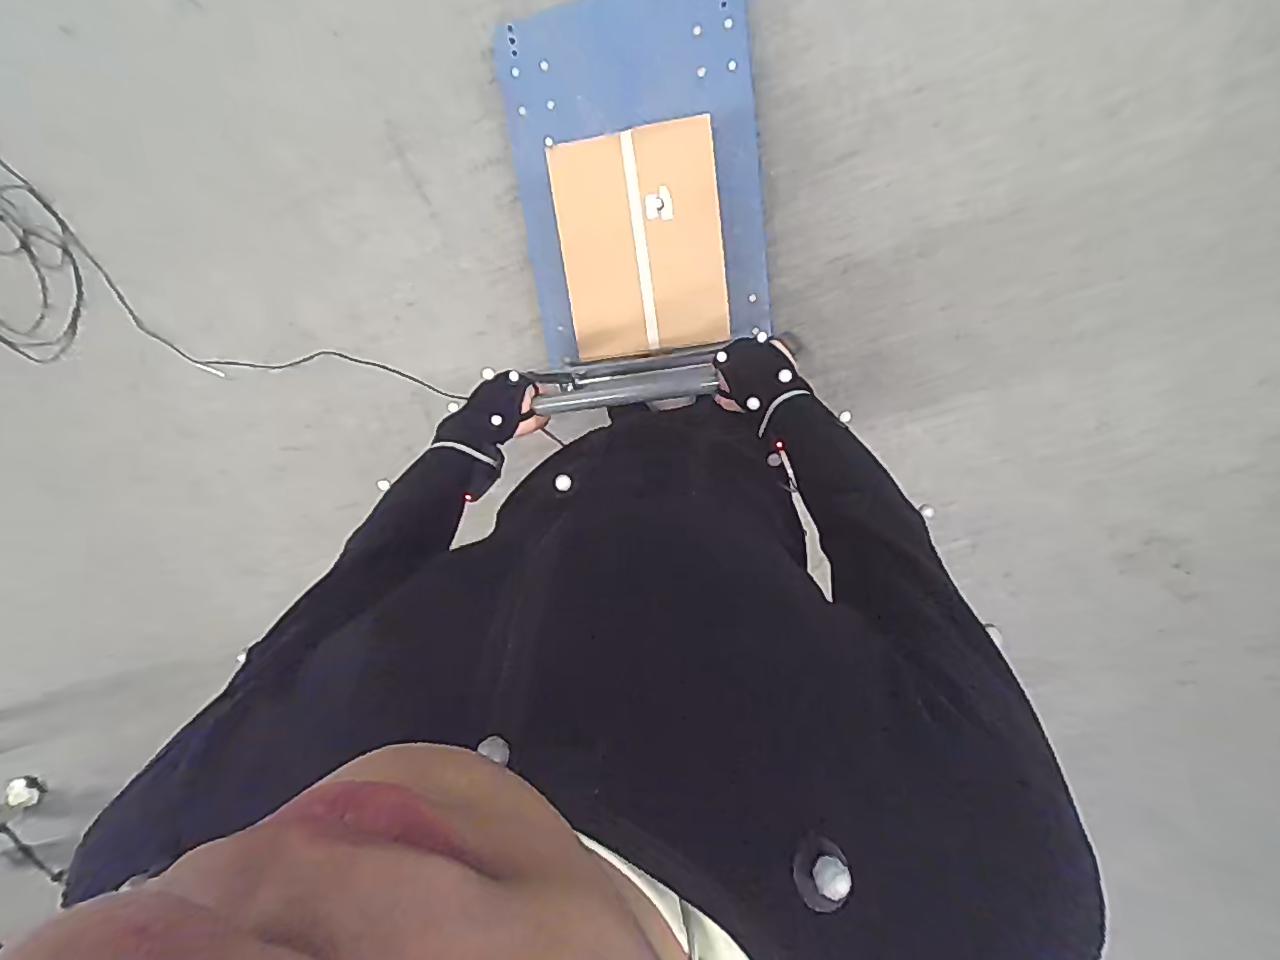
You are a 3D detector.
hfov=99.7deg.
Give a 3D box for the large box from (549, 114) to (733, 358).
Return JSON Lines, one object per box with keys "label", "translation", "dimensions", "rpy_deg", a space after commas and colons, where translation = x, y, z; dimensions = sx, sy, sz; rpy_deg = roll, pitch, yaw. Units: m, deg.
{"label": "large box", "translation": [0.023, -0.494, 1.188], "dimensions": [0.320, 0.320, 0.408], "rpy_deg": [-6, 104, 7]}
